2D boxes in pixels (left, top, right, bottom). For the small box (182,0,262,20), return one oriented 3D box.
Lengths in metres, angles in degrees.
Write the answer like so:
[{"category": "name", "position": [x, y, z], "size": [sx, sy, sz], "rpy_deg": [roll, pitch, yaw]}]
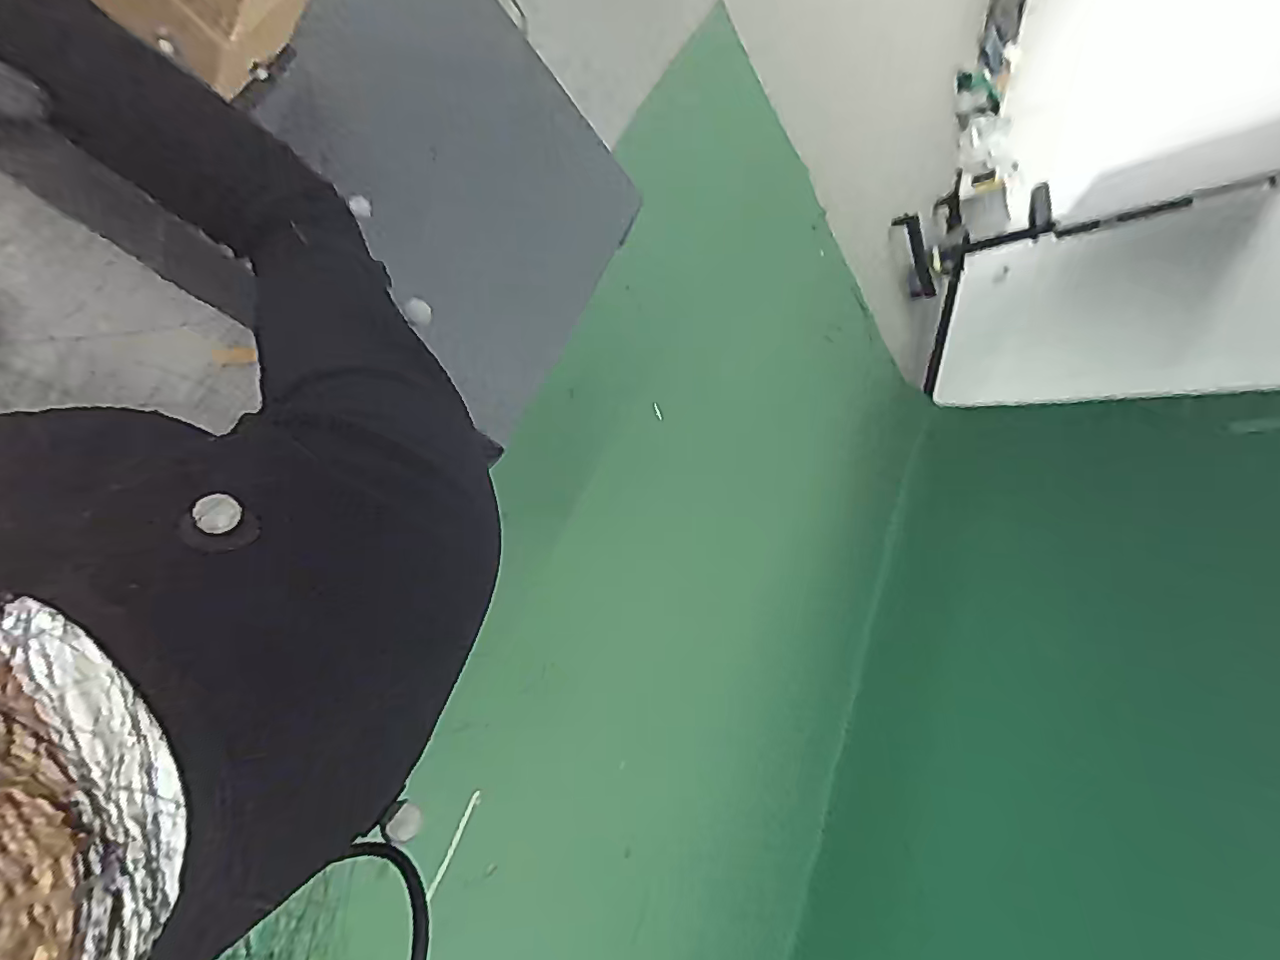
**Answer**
[{"category": "small box", "position": [-0.345, -0.509, 0.412], "size": [0.179, 0.176, 0.168], "rpy_deg": [38, 65, -39]}]
